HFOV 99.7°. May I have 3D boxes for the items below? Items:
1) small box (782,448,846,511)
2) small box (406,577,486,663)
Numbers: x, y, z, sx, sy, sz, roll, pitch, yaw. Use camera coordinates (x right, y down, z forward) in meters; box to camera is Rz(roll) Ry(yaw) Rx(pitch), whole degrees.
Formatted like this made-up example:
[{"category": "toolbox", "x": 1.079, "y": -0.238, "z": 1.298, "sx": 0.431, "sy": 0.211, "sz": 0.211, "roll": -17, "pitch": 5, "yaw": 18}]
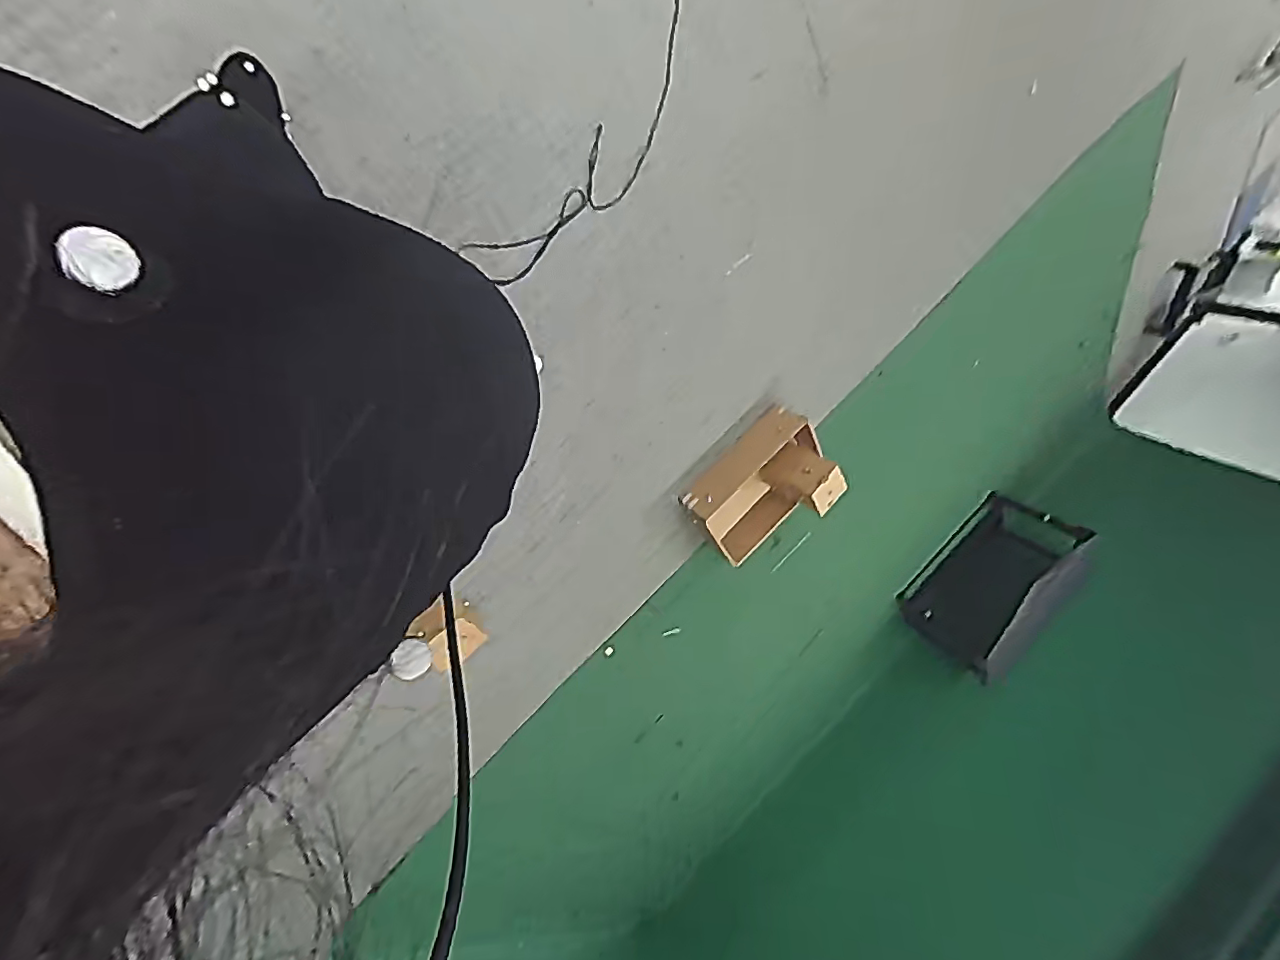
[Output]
[{"category": "small box", "x": 0.714, "y": -0.010, "z": 2.233, "sx": 0.168, "sy": 0.176, "sz": 0.179, "roll": -46, "pitch": 134, "yaw": -4}, {"category": "small box", "x": -0.647, "y": 0.460, "z": 1.788, "sx": 0.179, "sy": 0.176, "sz": 0.168, "roll": -40, "pitch": 135, "yaw": -10}]
